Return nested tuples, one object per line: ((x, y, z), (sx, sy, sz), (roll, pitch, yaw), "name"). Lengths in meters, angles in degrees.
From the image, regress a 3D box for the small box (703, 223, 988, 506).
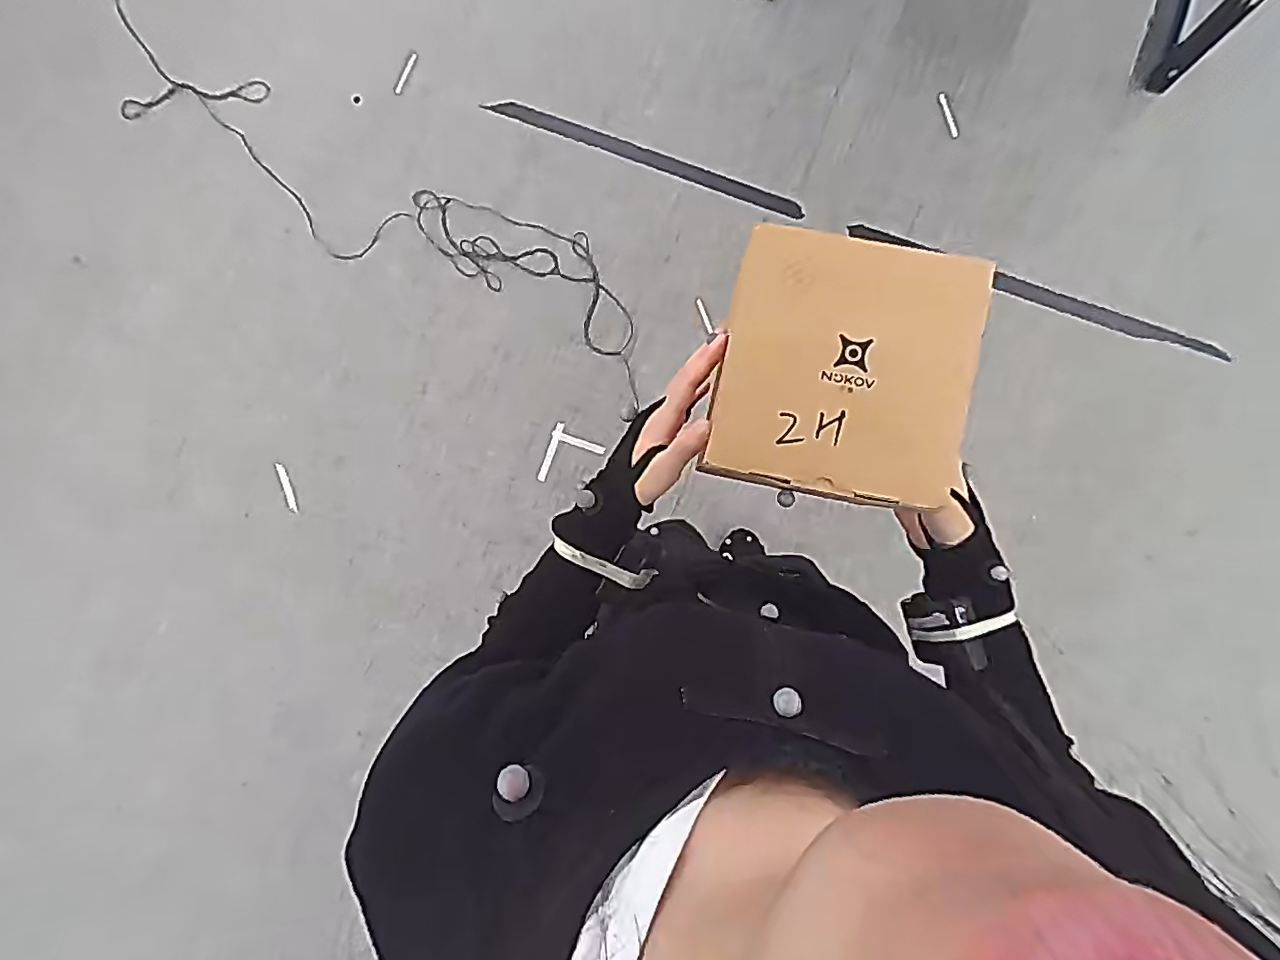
((0.150, -0.080, 0.457), (0.168, 0.176, 0.179), (11, 90, 4), "small box")
